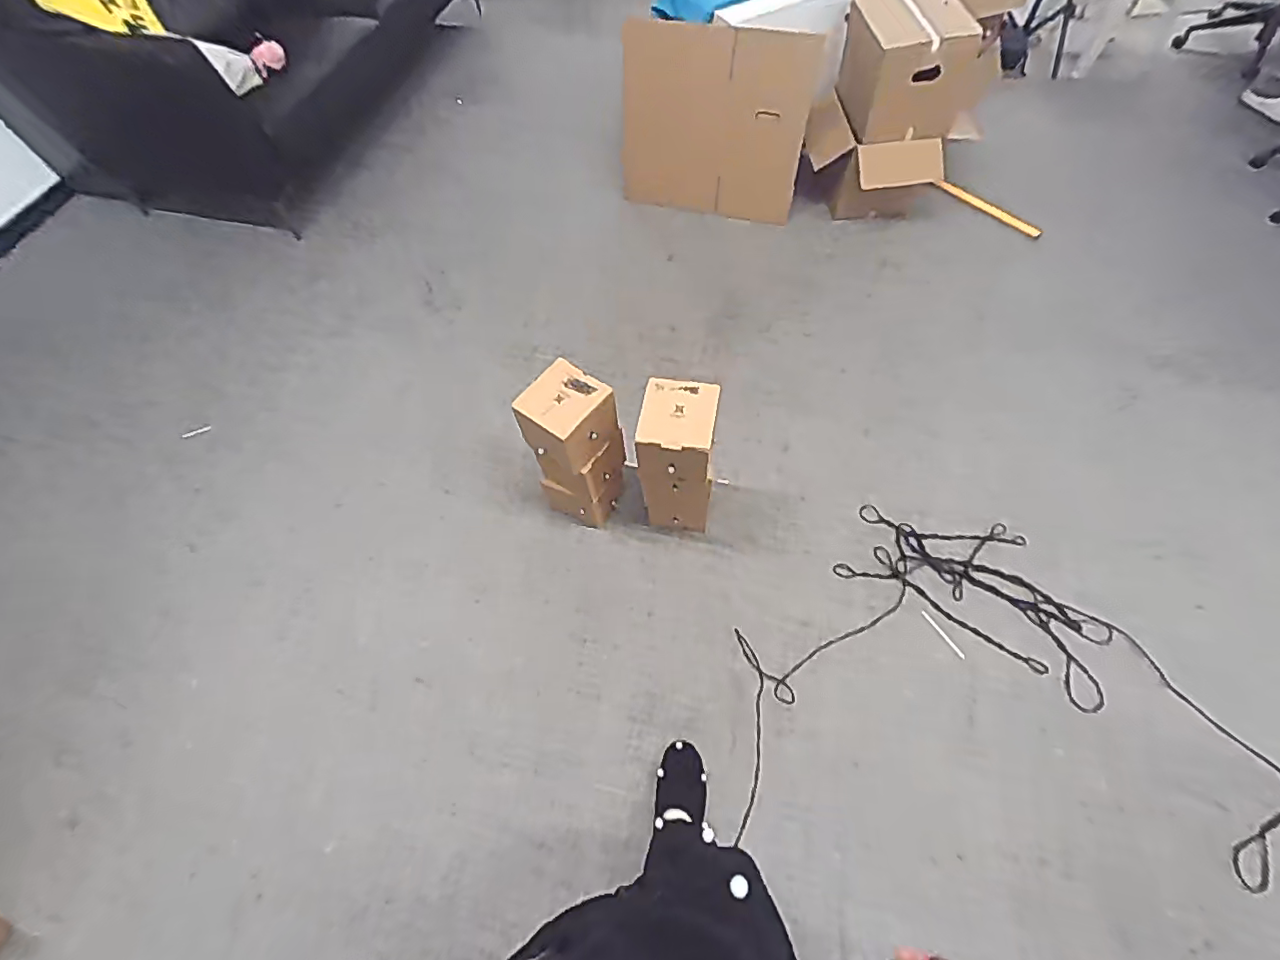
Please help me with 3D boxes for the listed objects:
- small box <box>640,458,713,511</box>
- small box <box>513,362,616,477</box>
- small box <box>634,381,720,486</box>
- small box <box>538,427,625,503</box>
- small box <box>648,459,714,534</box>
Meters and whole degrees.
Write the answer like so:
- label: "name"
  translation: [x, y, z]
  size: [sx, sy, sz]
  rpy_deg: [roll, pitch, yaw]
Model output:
- label: "small box"
  translation: [0.099, -0.029, 1.397]
  size: [0.179, 0.176, 0.168]
  rpy_deg: [1, 62, 5]
- label: "small box"
  translation: [-0.171, -0.141, 1.294]
  size: [0.168, 0.176, 0.179]
  rpy_deg: [33, 68, 20]
- label: "small box"
  translation: [0.089, -0.103, 1.252]
  size: [0.168, 0.176, 0.179]
  rpy_deg: [8, 63, 9]
- label: "small box"
  translation: [-0.157, -0.066, 1.440]
  size: [0.179, 0.176, 0.168]
  rpy_deg: [28, 65, 17]
- label: "small box"
  translation: [0.119, 0.041, 1.543]
  size: [0.168, 0.176, 0.179]
  rpy_deg: [5, 61, 7]
